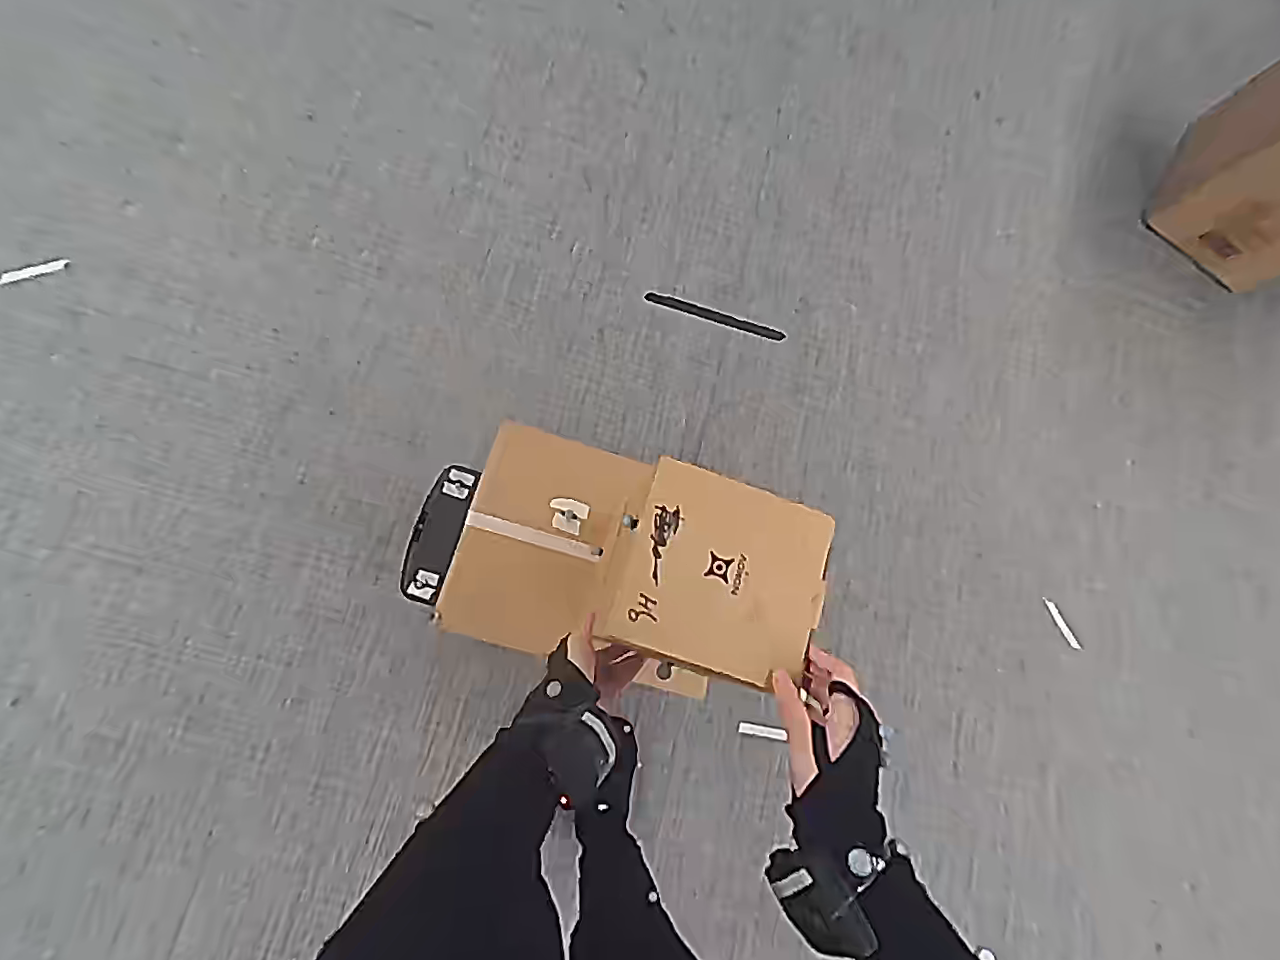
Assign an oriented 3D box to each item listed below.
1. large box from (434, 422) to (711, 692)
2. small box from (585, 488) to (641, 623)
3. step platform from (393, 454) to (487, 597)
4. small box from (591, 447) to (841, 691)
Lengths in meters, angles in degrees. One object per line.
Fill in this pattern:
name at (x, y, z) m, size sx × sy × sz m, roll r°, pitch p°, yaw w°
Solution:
large box at (-0.075, 0.136, 0.933) m, size 0.408 × 0.320 × 0.320 m, roll 17°, pitch 77°, yaw -5°
small box at (0.036, 0.125, 0.701) m, size 0.179 × 0.176 × 0.168 m, roll 18°, pitch 76°, yaw -5°
step platform at (-0.148, 0.195, 1.155) m, size 0.684 × 0.204 × 0.286 m, roll 22°, pitch 77°, yaw -4°
small box at (0.064, 0.093, 0.536) m, size 0.179 × 0.176 × 0.168 m, roll 20°, pitch 70°, yaw -5°
